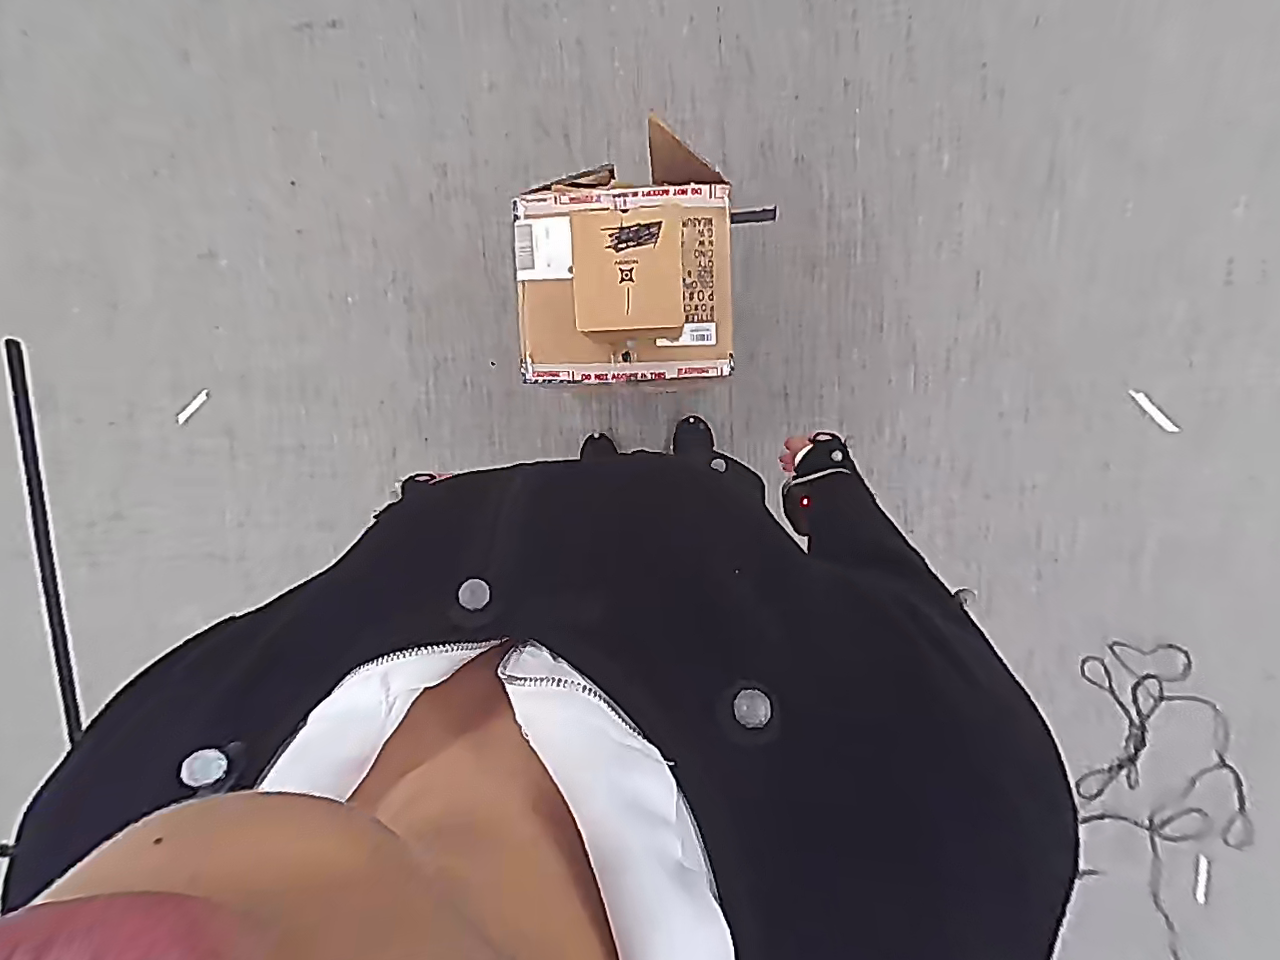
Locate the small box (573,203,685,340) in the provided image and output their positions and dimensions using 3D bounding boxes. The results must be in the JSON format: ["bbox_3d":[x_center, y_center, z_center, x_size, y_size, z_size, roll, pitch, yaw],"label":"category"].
[{"bbox_3d":[-0.013,-0.330,0.885,0.168,0.176,0.179,-2,100,3],"label":"small box"}]
